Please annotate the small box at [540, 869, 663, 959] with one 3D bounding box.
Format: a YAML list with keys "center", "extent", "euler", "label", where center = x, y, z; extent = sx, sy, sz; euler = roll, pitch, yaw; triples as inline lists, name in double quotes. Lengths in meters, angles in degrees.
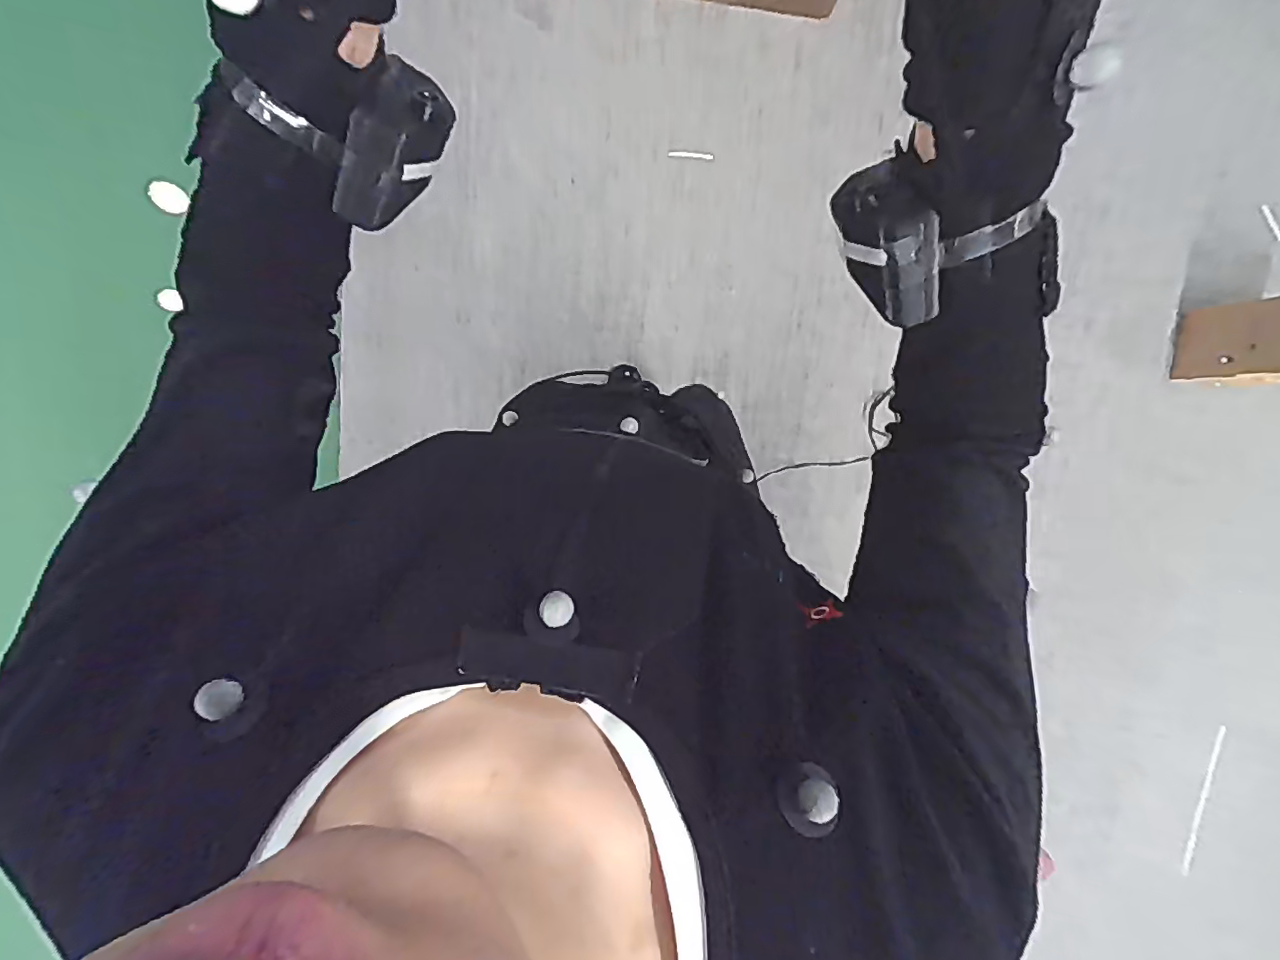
- center: [-0.061, 0.705, 0.762]
  extent: [0.168, 0.176, 0.179]
  euler: [11, 99, 0]
  label: "small box"

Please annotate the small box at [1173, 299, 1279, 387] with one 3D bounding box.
- center: [1.430, -0.316, 1.277]
  extent: [0.168, 0.176, 0.179]
  euler: [6, 99, 2]
  label: "small box"

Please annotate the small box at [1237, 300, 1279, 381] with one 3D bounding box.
- center: [1.422, -0.292, 1.115]
  extent: [0.179, 0.176, 0.168]
  euler: [6, 99, 1]
  label: "small box"
